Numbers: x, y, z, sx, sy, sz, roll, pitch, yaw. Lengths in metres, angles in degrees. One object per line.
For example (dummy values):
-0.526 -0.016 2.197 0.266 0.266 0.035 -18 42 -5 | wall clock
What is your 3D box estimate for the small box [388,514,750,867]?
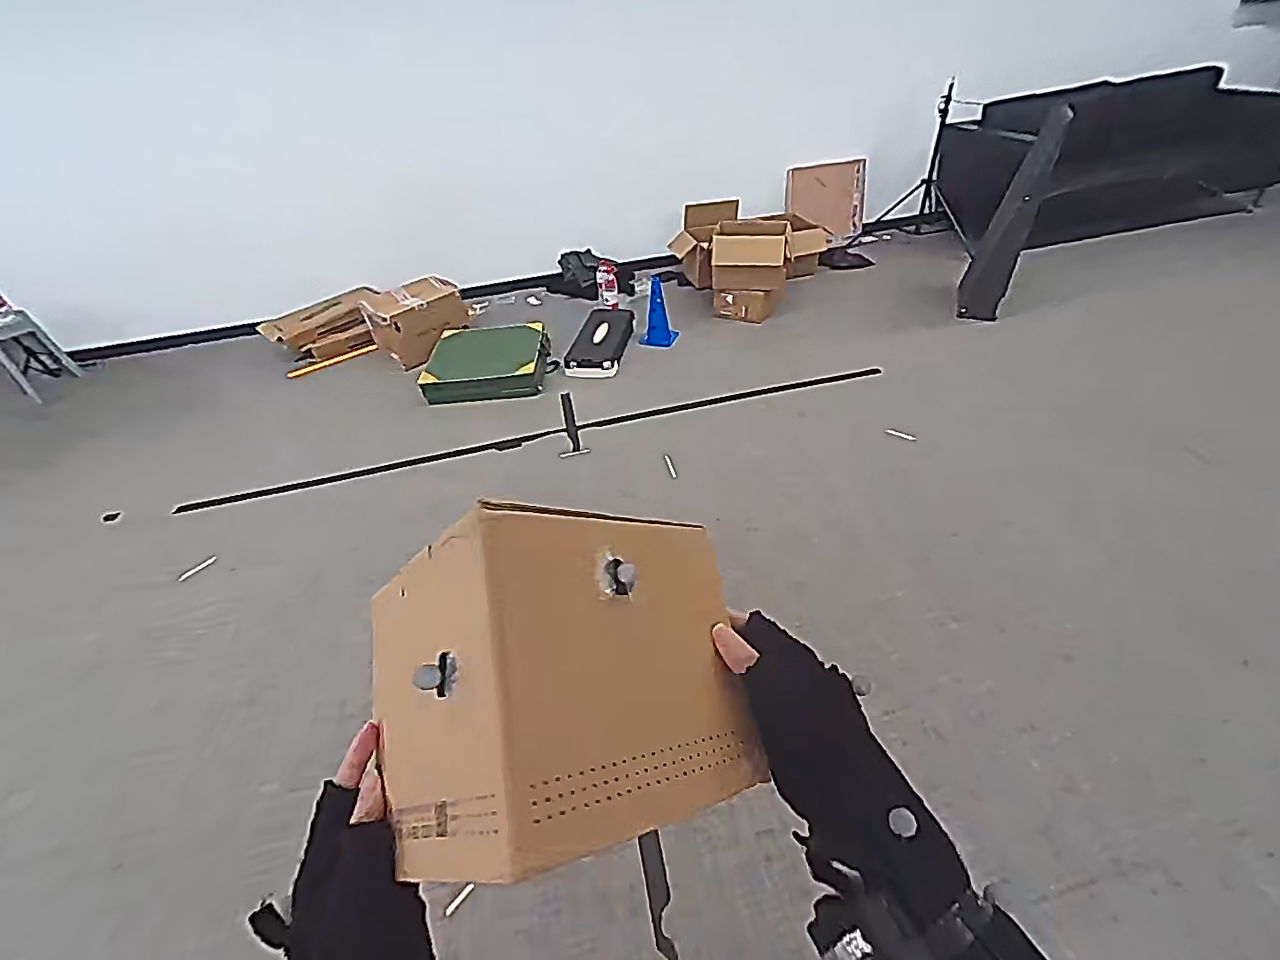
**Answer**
-0.053 0.137 0.363 0.179 0.168 0.176 9 57 -39 | small box
